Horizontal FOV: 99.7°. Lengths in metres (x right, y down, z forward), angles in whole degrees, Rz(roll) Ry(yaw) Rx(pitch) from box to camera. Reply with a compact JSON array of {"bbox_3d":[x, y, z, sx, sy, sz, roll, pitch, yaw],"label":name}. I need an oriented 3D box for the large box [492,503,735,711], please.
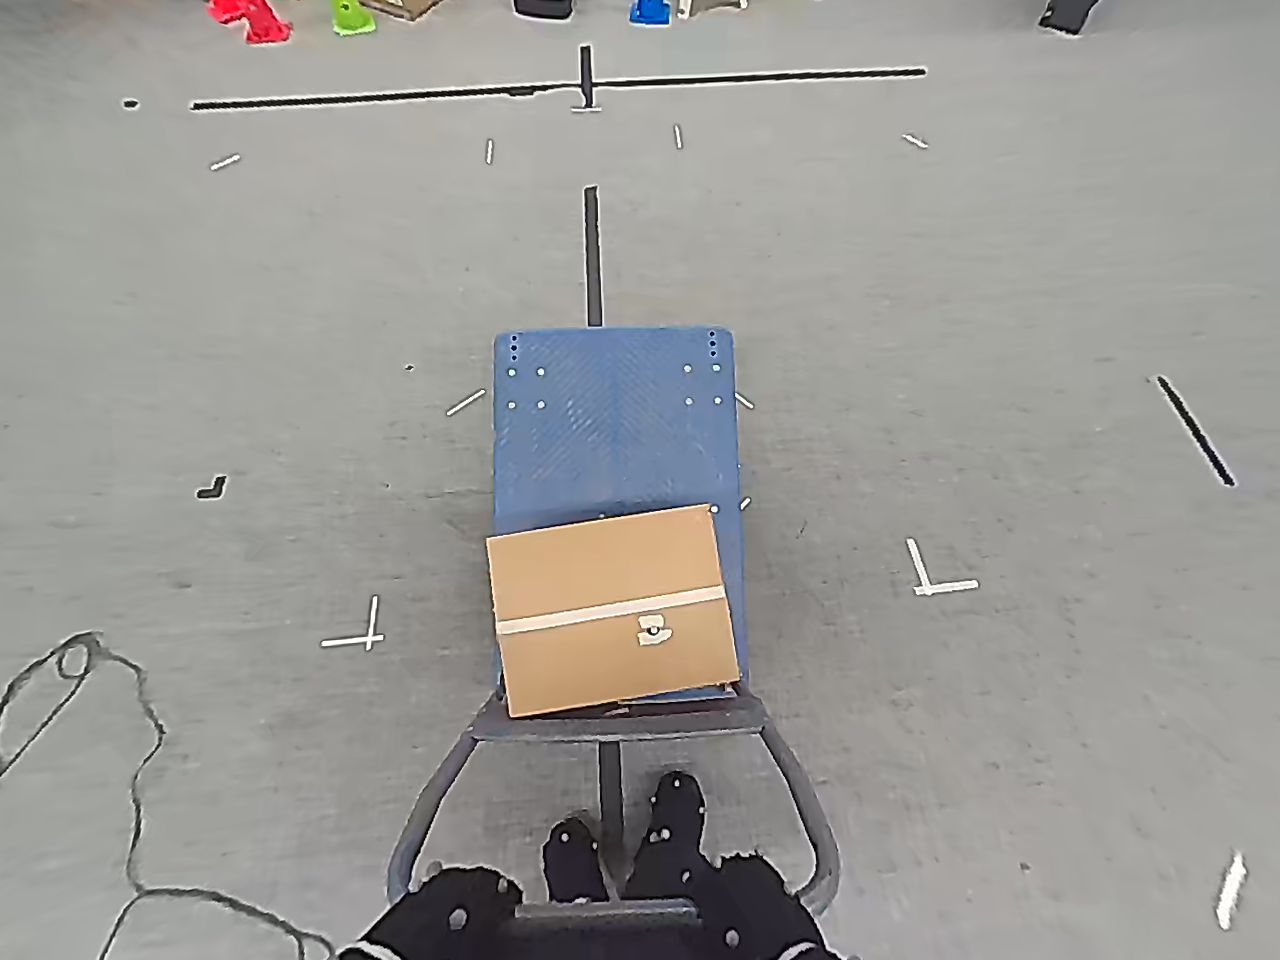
[{"bbox_3d":[-0.055,0.241,1.118,0.408,0.320,0.320,-9,85,-3],"label":"large box"}]
